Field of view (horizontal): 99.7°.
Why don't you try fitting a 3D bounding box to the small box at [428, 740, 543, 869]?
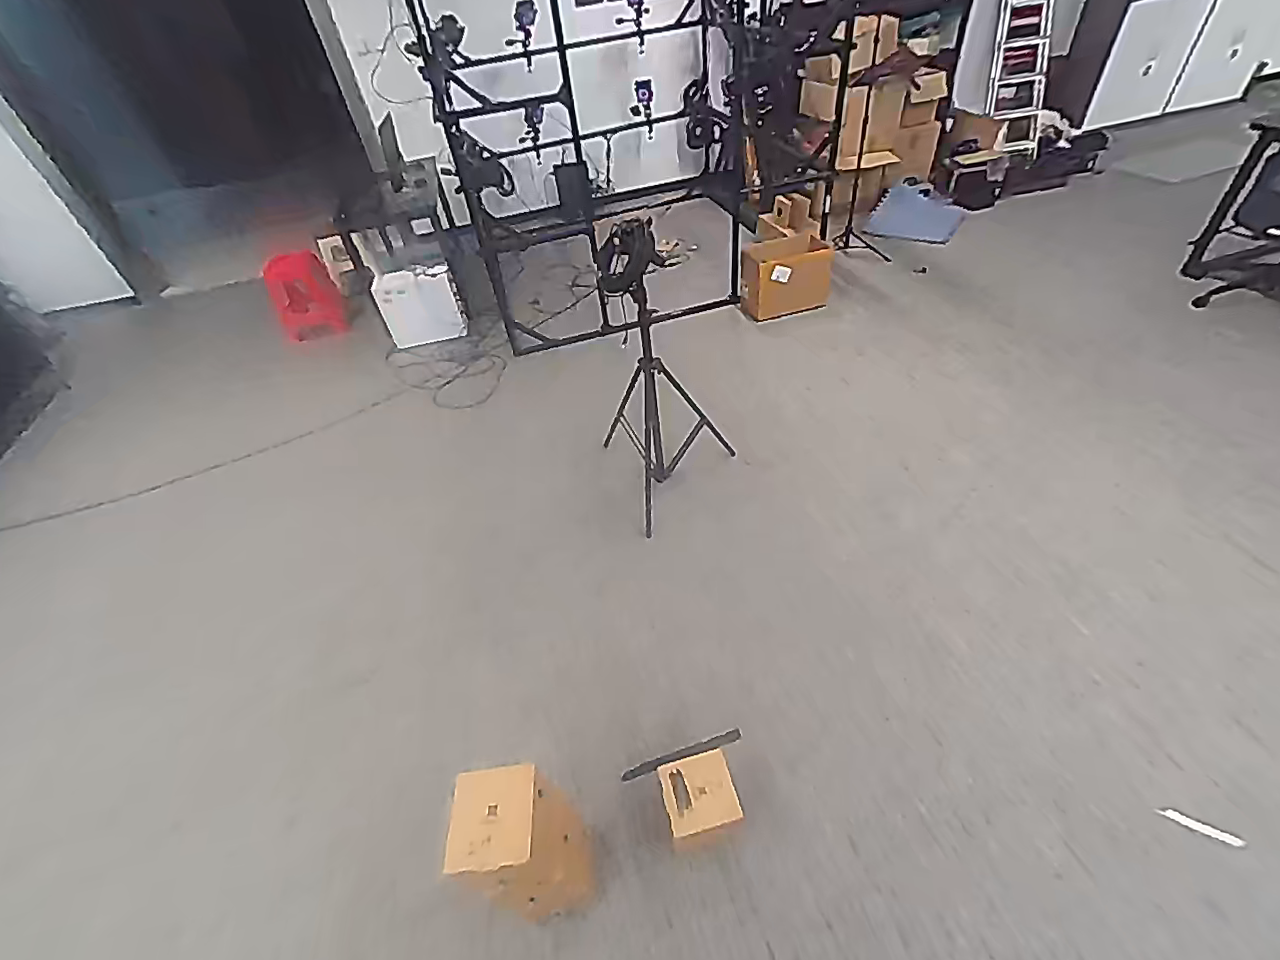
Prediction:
[{"bbox_3d":[-0.293,0.644,1.073,0.168,0.176,0.179,-9,45,2],"label":"small box"}]
